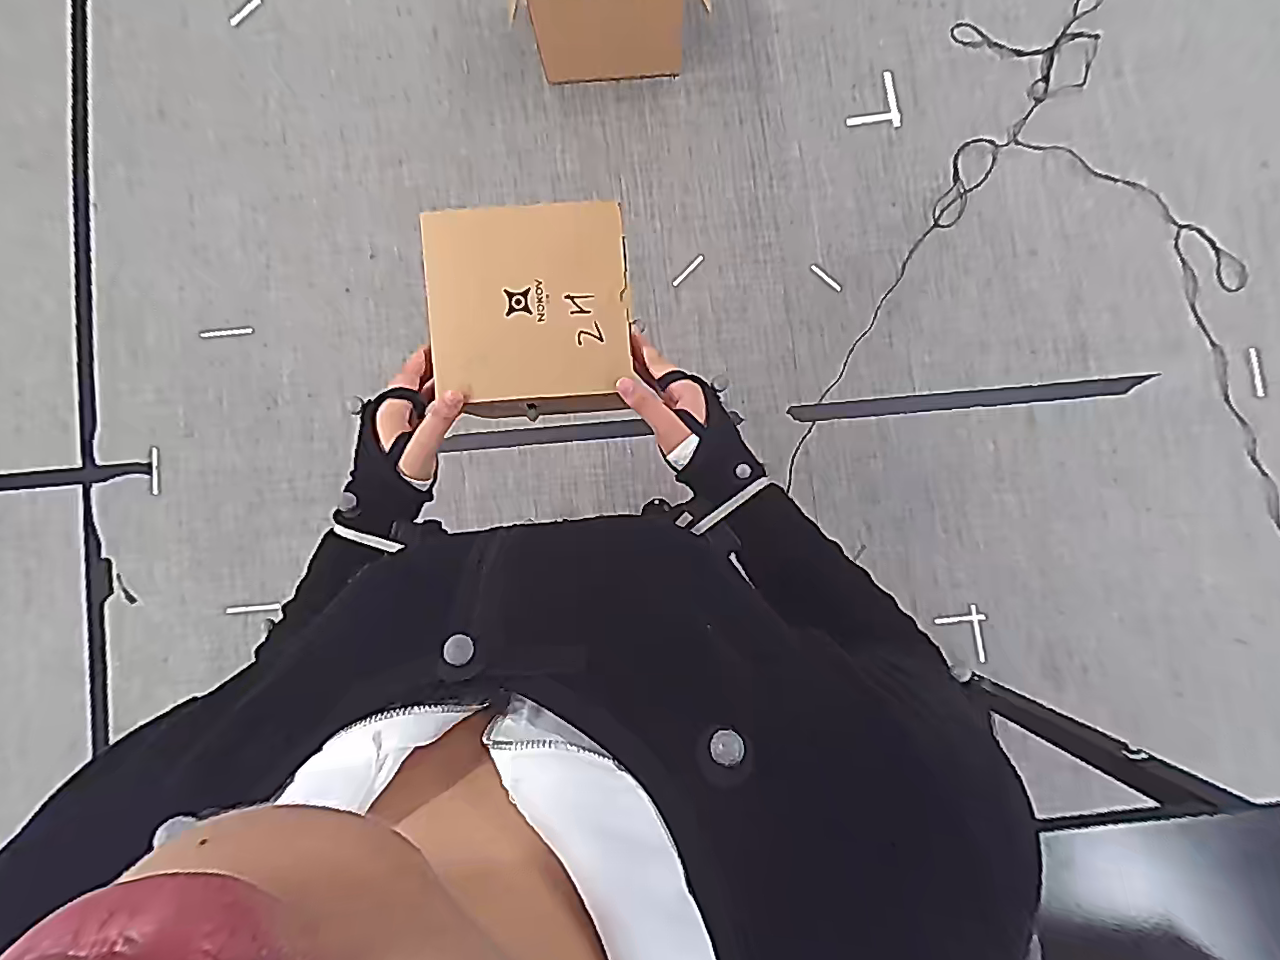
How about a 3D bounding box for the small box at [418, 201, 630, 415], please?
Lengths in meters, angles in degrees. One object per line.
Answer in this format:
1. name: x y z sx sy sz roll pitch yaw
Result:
1. small box: -0.102 -0.158 0.550 0.179 0.176 0.168 -4 93 -2
